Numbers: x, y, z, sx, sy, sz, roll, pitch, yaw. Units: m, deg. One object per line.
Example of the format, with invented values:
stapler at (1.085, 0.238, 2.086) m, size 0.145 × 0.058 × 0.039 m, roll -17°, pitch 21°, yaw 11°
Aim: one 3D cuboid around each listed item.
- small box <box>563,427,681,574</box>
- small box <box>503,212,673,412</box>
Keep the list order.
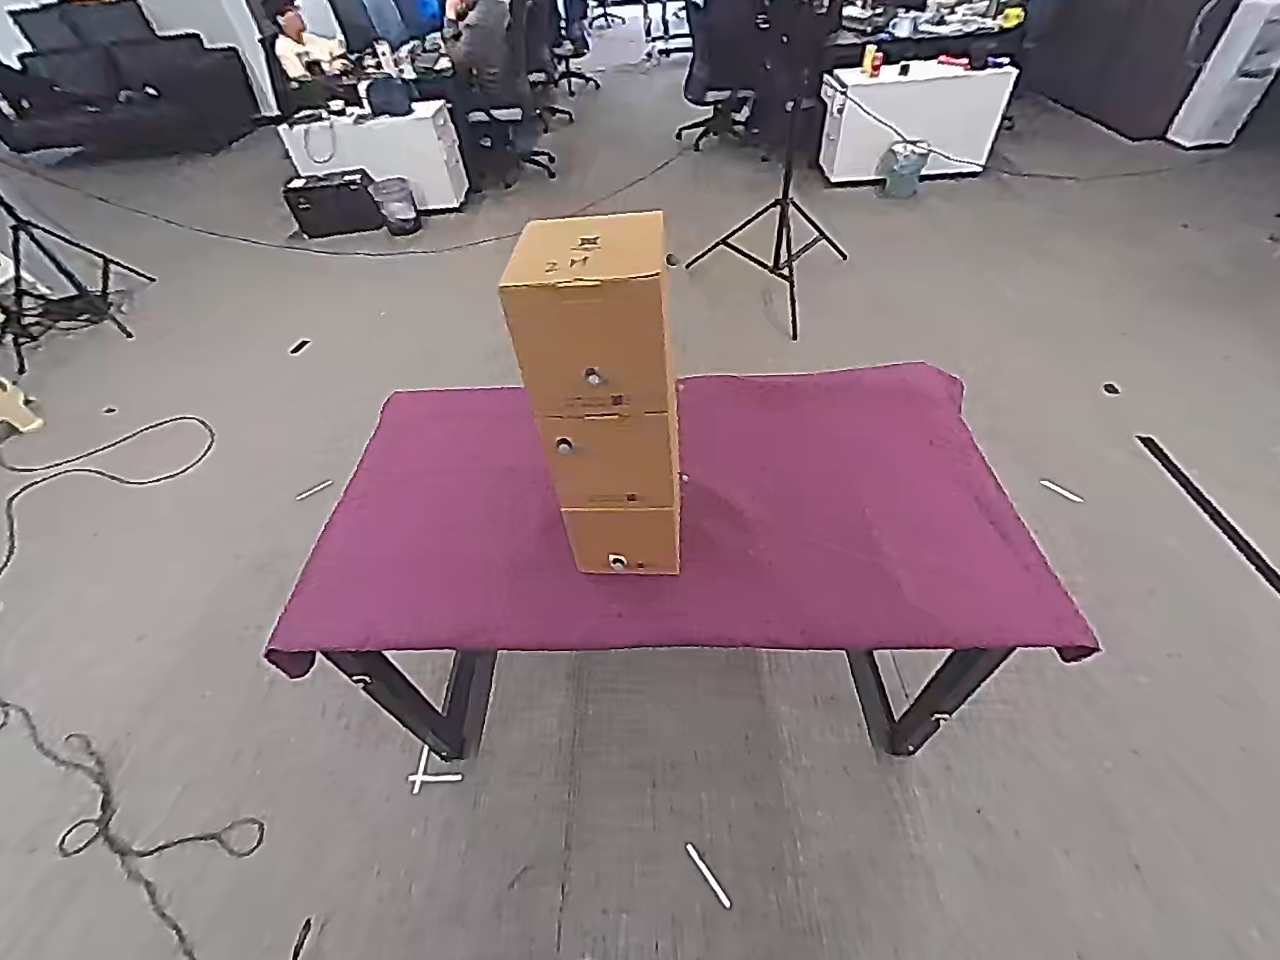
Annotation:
small box at (-0.019, 0.033, 0.881) m, size 0.168 × 0.176 × 0.179 m, roll -1°, pitch 47°, yaw 5°
small box at (-0.047, -0.200, 0.649) m, size 0.168 × 0.176 × 0.179 m, roll -2°, pitch 46°, yaw 5°
